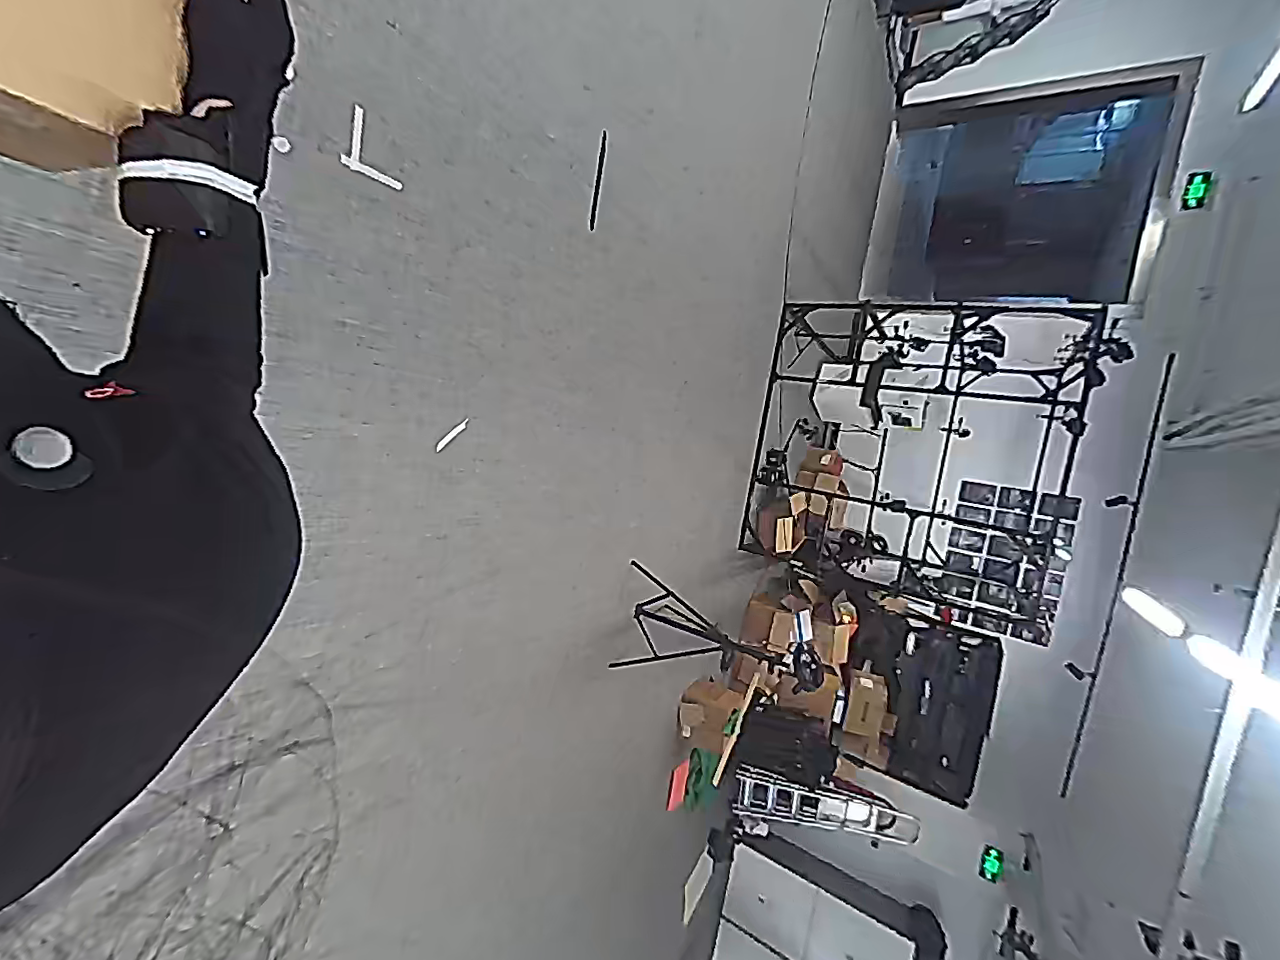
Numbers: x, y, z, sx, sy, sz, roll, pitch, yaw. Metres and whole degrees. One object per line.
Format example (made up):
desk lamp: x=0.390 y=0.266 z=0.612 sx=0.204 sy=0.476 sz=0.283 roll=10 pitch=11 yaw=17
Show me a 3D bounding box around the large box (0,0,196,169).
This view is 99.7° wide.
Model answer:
large box: x=-0.541 y=-0.424 z=0.290 sx=0.408 sy=0.320 sz=0.320 roll=2 pitch=104 yaw=-61
